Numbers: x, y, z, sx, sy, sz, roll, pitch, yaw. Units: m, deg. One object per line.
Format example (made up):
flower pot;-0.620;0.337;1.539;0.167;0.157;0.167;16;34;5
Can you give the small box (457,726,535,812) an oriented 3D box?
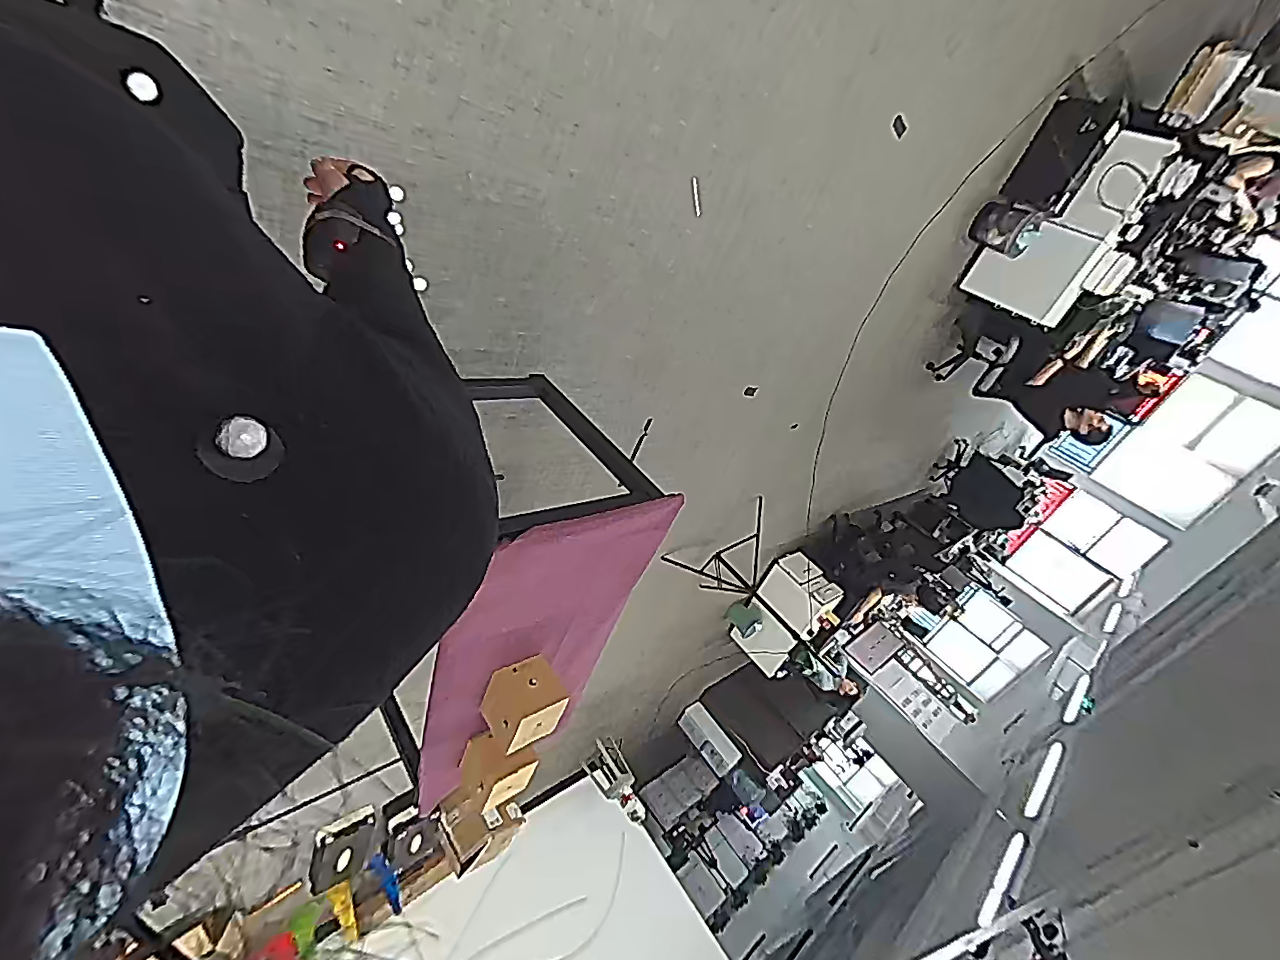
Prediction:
small box;-0.469;0.911;1.739;0.168;0.176;0.179;-8;131;-46

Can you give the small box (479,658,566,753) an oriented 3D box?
small box;-0.347;0.645;1.574;0.168;0.176;0.179;-7;132;-45
